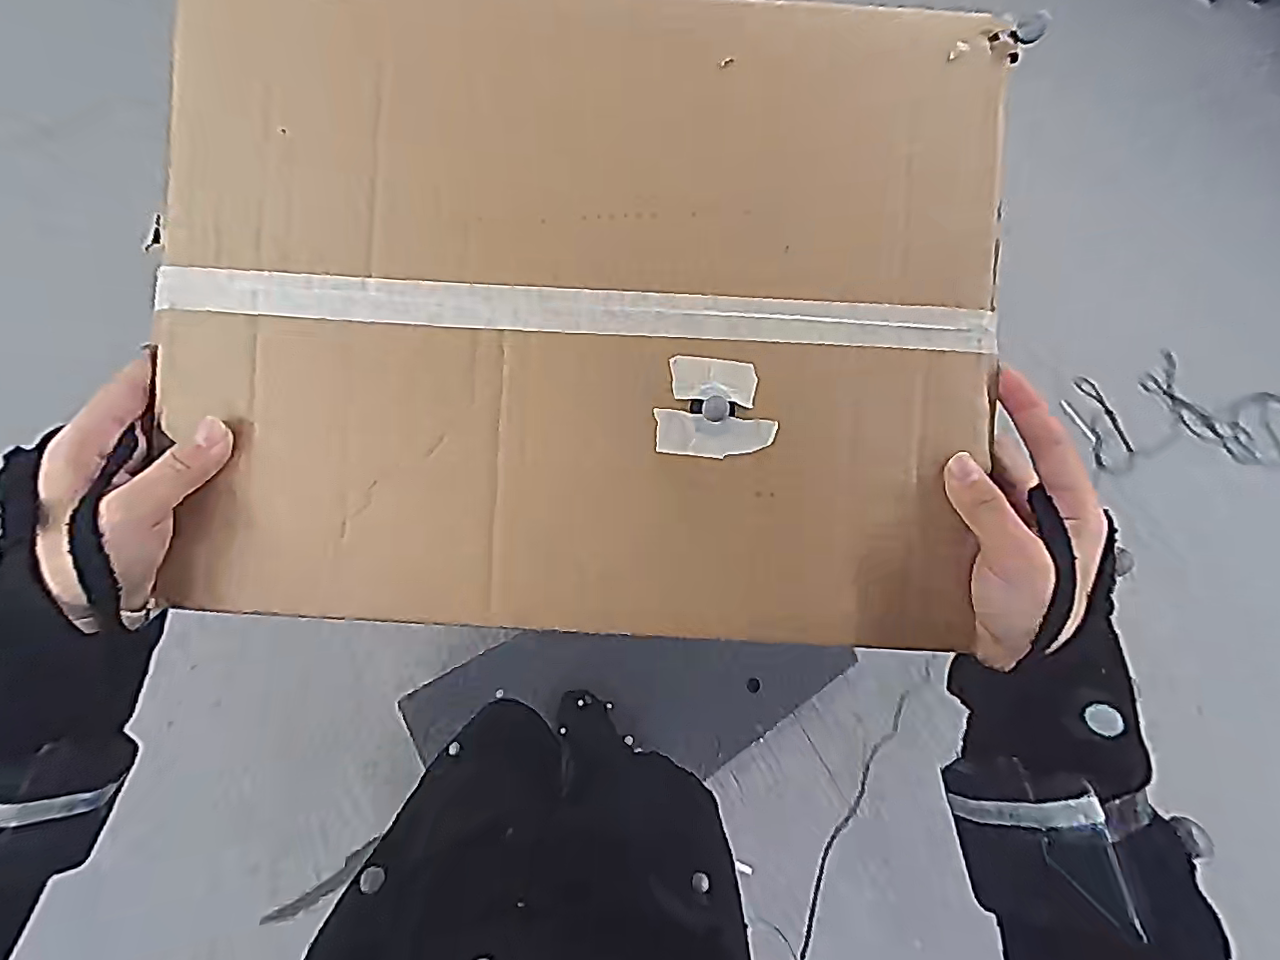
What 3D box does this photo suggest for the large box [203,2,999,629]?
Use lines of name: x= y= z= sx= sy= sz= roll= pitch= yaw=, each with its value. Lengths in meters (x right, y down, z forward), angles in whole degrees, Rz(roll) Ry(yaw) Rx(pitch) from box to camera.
large box: x=-0.021 y=-0.084 z=0.429 sx=0.408 sy=0.320 sz=0.320 roll=4 pitch=91 yaw=0
